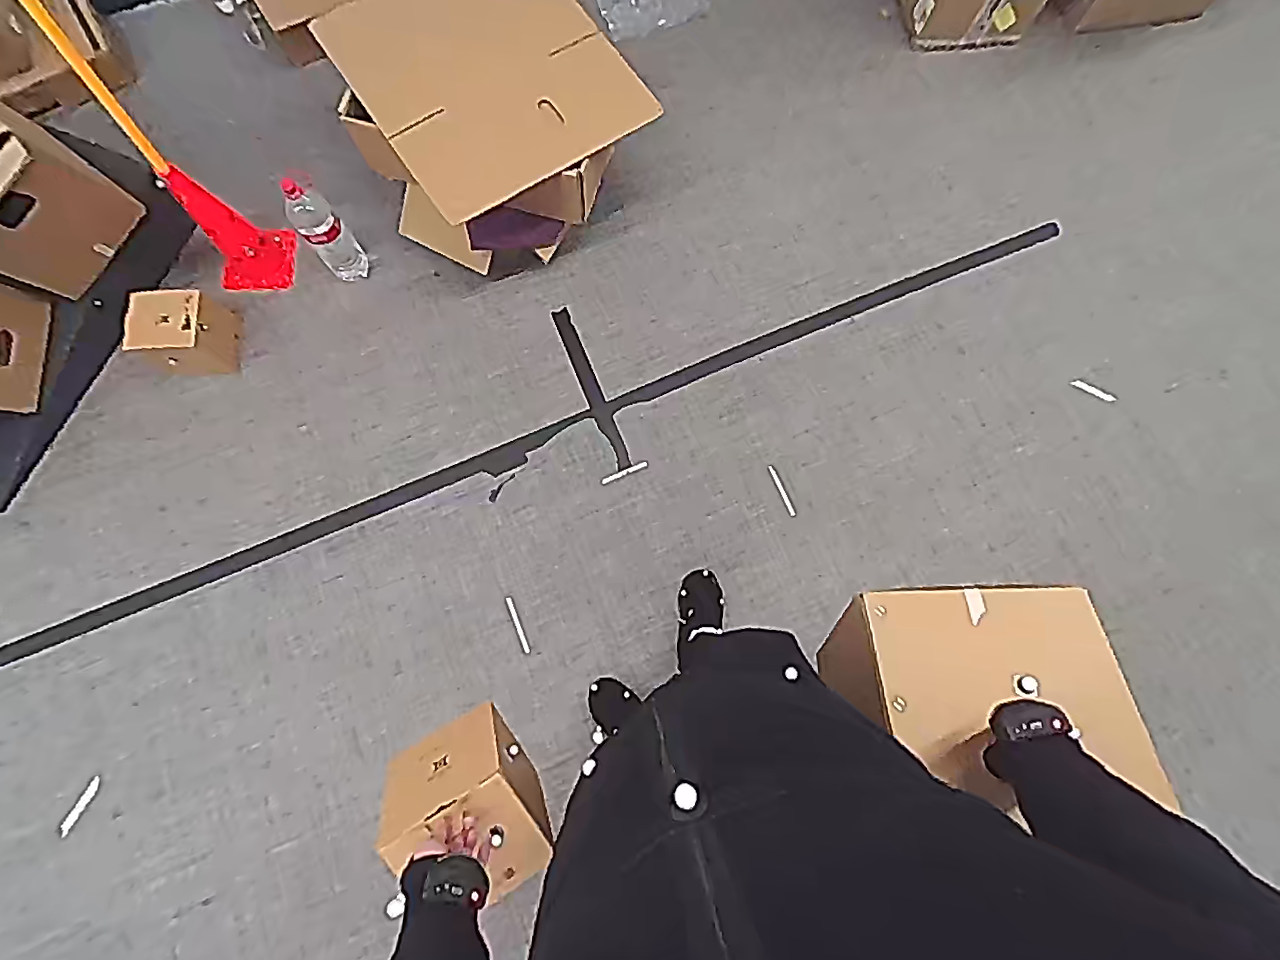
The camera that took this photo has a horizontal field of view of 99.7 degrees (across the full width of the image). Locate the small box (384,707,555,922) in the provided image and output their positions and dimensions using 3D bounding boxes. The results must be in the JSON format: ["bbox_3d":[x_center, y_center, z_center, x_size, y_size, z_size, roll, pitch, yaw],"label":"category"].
[{"bbox_3d":[-0.238,0.477,0.776,0.168,0.179,0.176,-29,107,-13],"label":"small box"}]
